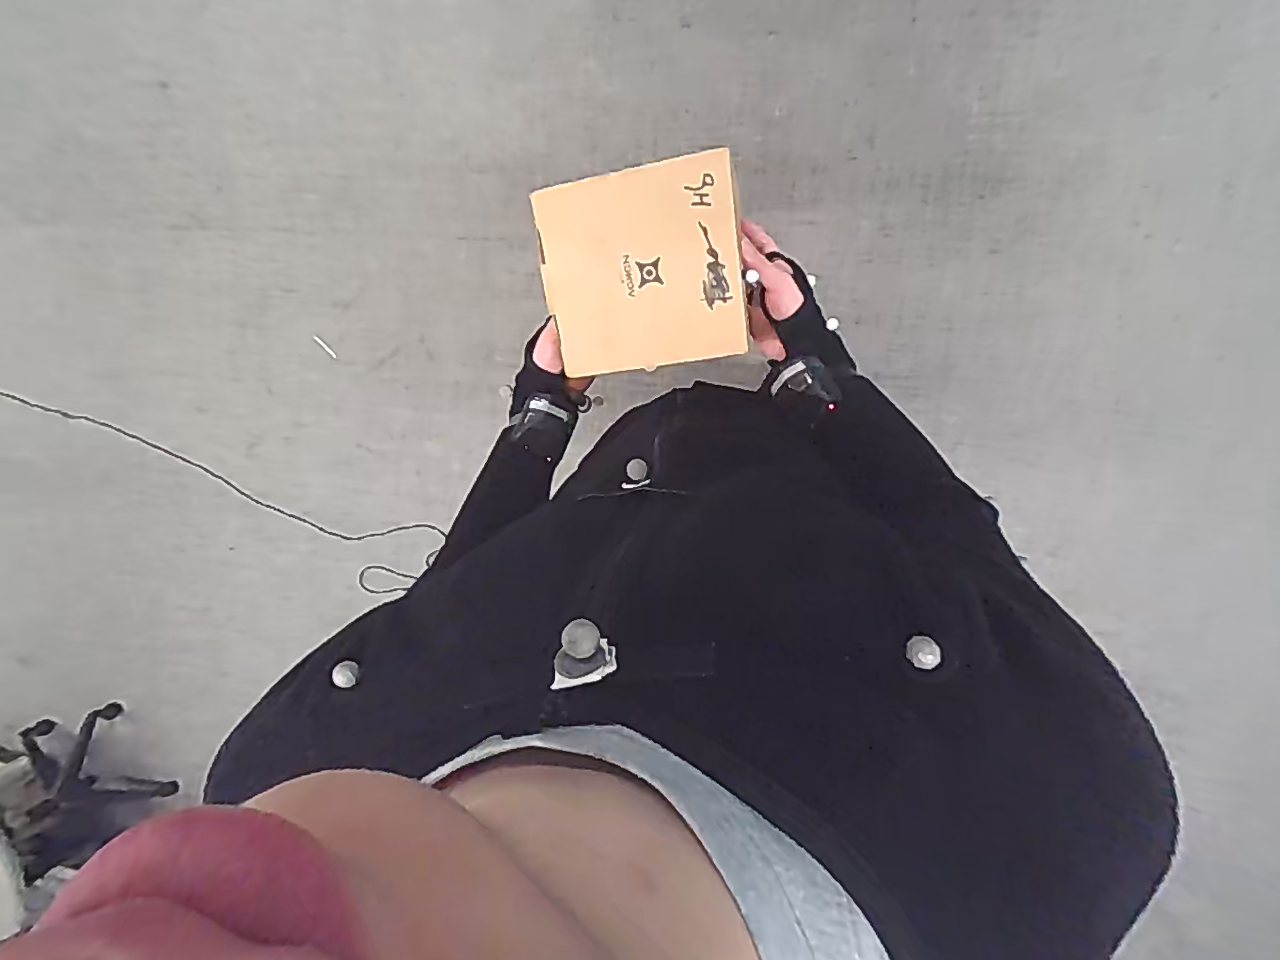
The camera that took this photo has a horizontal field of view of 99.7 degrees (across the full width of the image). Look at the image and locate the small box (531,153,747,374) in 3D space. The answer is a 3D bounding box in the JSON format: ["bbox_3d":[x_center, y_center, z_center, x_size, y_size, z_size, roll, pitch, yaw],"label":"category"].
[{"bbox_3d":[0.013,-0.209,0.554,0.179,0.176,0.168,-4,109,13],"label":"small box"}]
